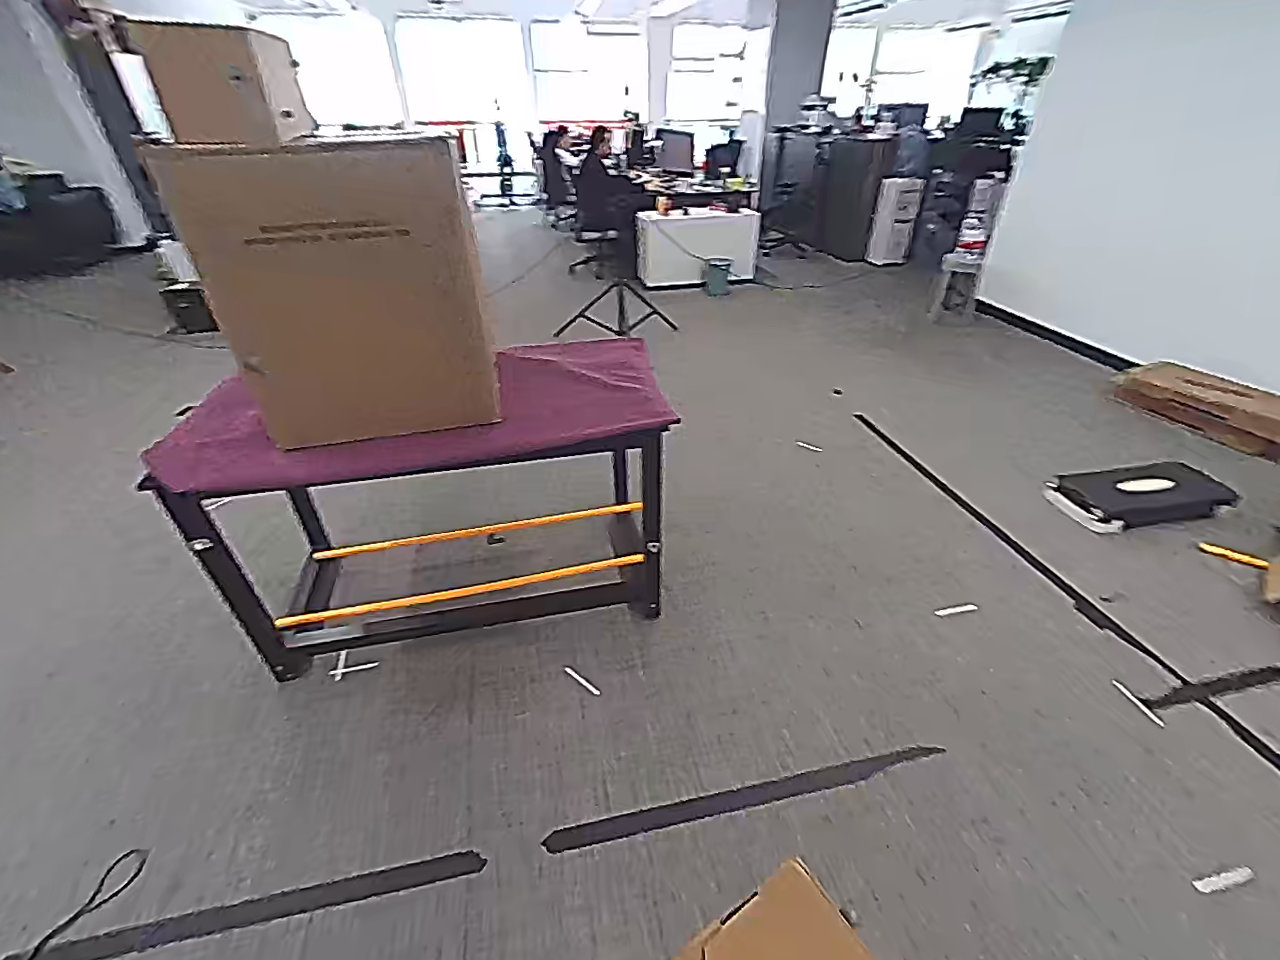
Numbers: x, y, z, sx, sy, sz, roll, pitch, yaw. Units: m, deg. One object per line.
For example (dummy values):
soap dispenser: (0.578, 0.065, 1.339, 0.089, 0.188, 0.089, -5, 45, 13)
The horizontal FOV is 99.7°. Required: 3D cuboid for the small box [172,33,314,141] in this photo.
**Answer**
small box: (-0.807, -0.809, 1.124, 0.168, 0.176, 0.179, -9, 35, -12)
